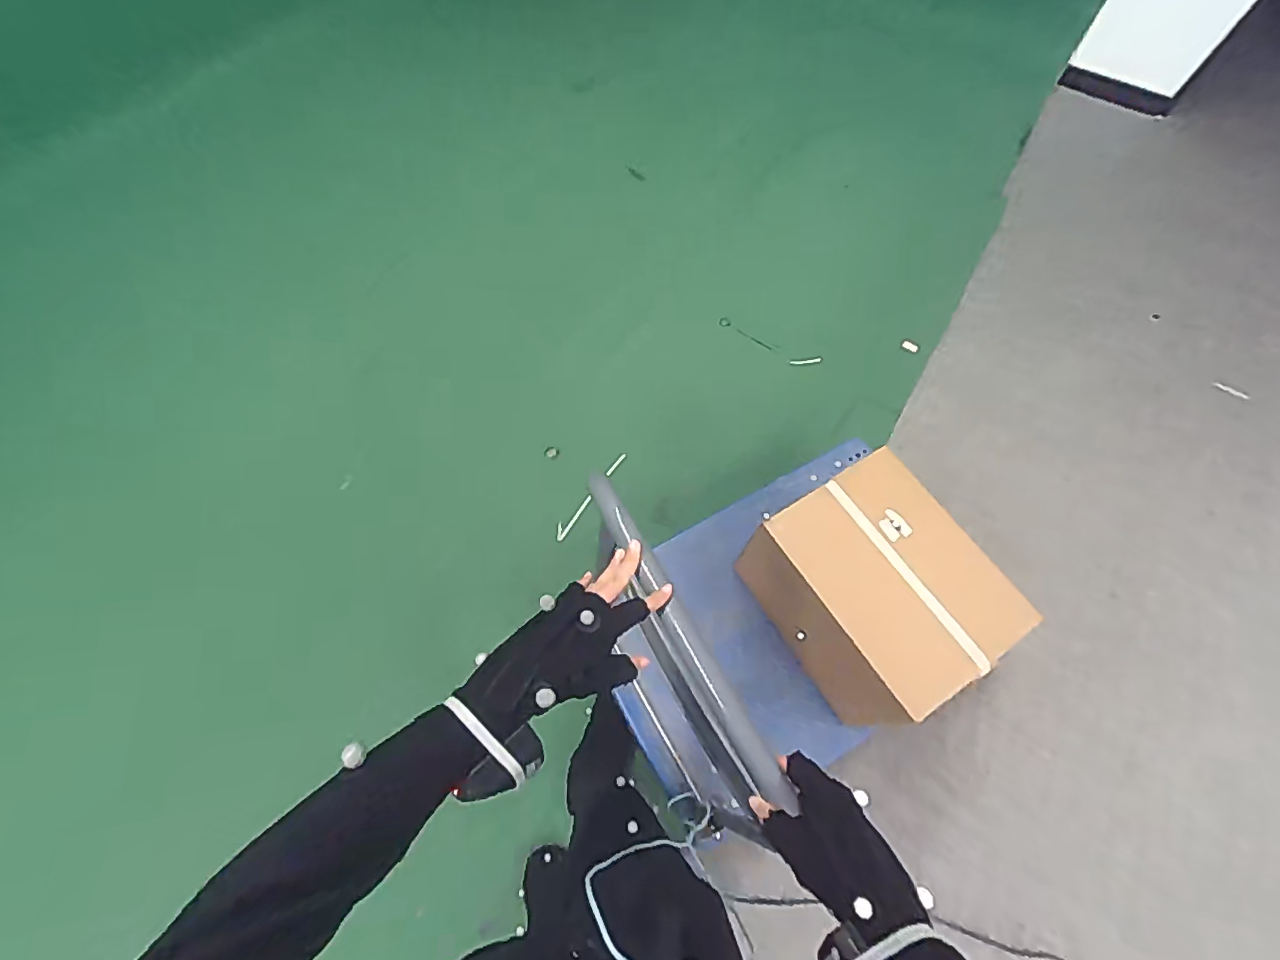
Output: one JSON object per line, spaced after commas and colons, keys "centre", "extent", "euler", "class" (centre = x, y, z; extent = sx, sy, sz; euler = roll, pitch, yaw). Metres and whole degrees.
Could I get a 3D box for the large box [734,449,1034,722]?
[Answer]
{"centre": [0.450, 0.223, 1.100], "extent": [0.320, 0.320, 0.408], "euler": [-29, 68, -14], "class": "large box"}
